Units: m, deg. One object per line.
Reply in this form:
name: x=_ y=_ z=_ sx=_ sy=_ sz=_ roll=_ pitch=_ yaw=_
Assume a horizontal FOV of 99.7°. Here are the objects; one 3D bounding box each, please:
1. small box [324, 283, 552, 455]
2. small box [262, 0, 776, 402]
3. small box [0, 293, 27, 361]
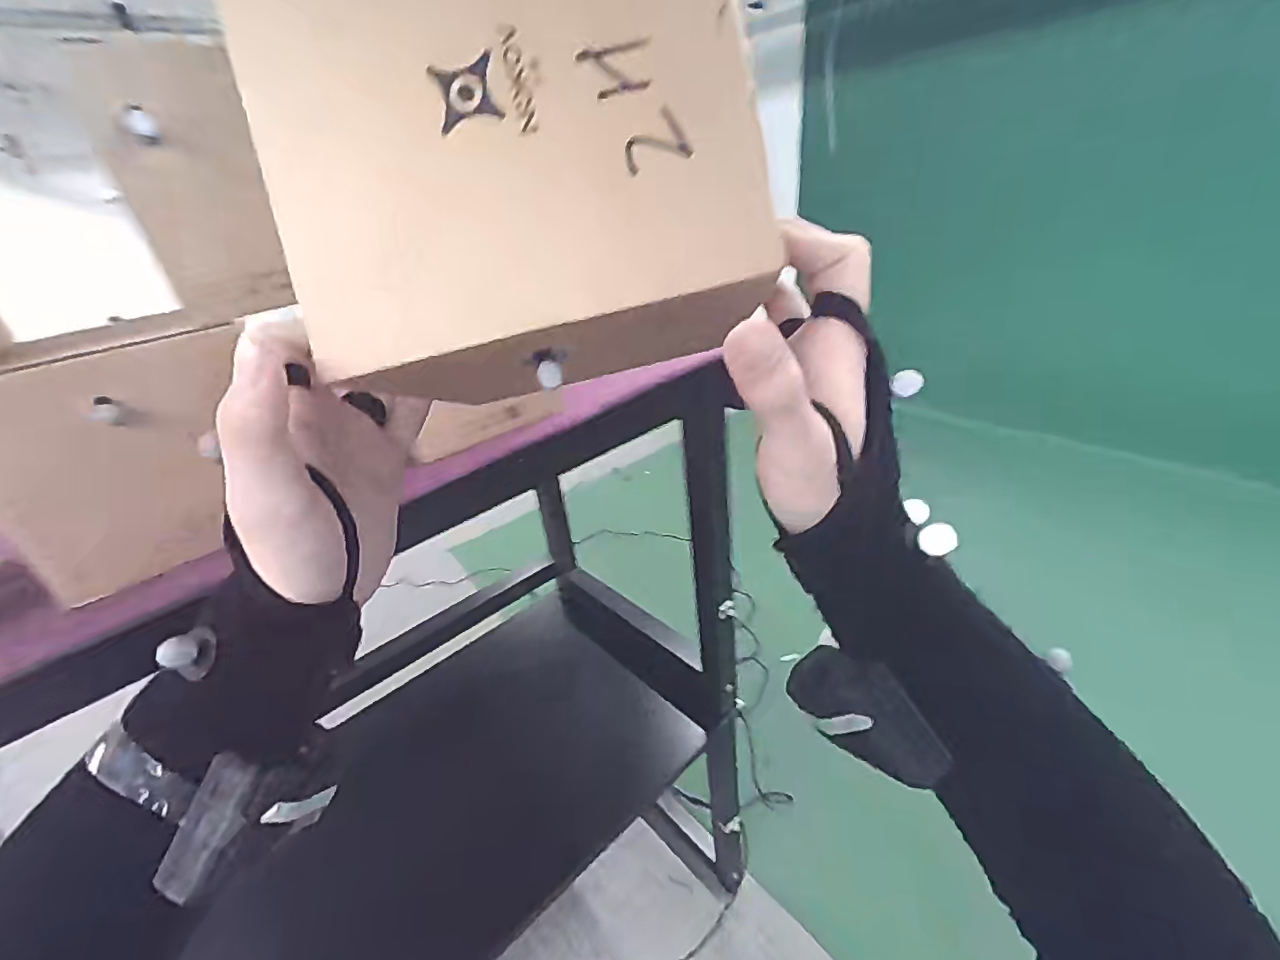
small box: x=-0.218 y=-0.143 z=0.604 sx=0.168 sy=0.176 sz=0.179 roll=-27 pitch=35 yaw=-31
small box: x=-0.043 y=-0.141 z=0.285 sx=0.179 sy=0.168 sz=0.176 roll=-12 pitch=4 yaw=4
small box: x=-0.533 y=-0.132 z=0.322 sx=0.168 sy=0.176 sz=0.179 roll=-28 pitch=33 yaw=-33
